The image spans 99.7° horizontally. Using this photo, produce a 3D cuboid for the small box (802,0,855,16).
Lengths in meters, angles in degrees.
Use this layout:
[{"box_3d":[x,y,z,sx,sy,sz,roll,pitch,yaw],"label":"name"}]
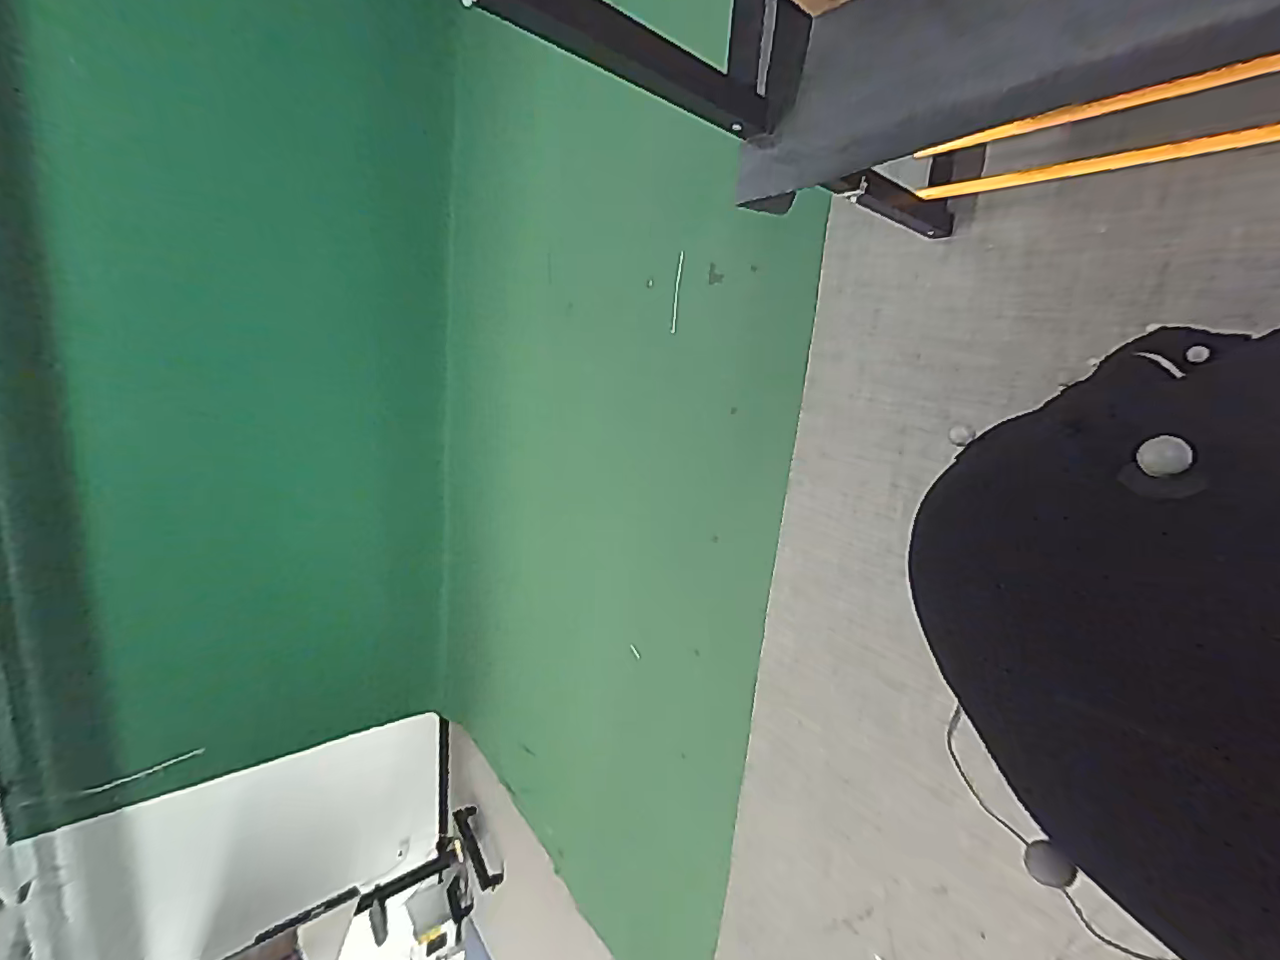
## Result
[{"box_3d":[0.274,-0.792,0.729,0.168,0.176,0.179,20,109,49],"label":"small box"}]
